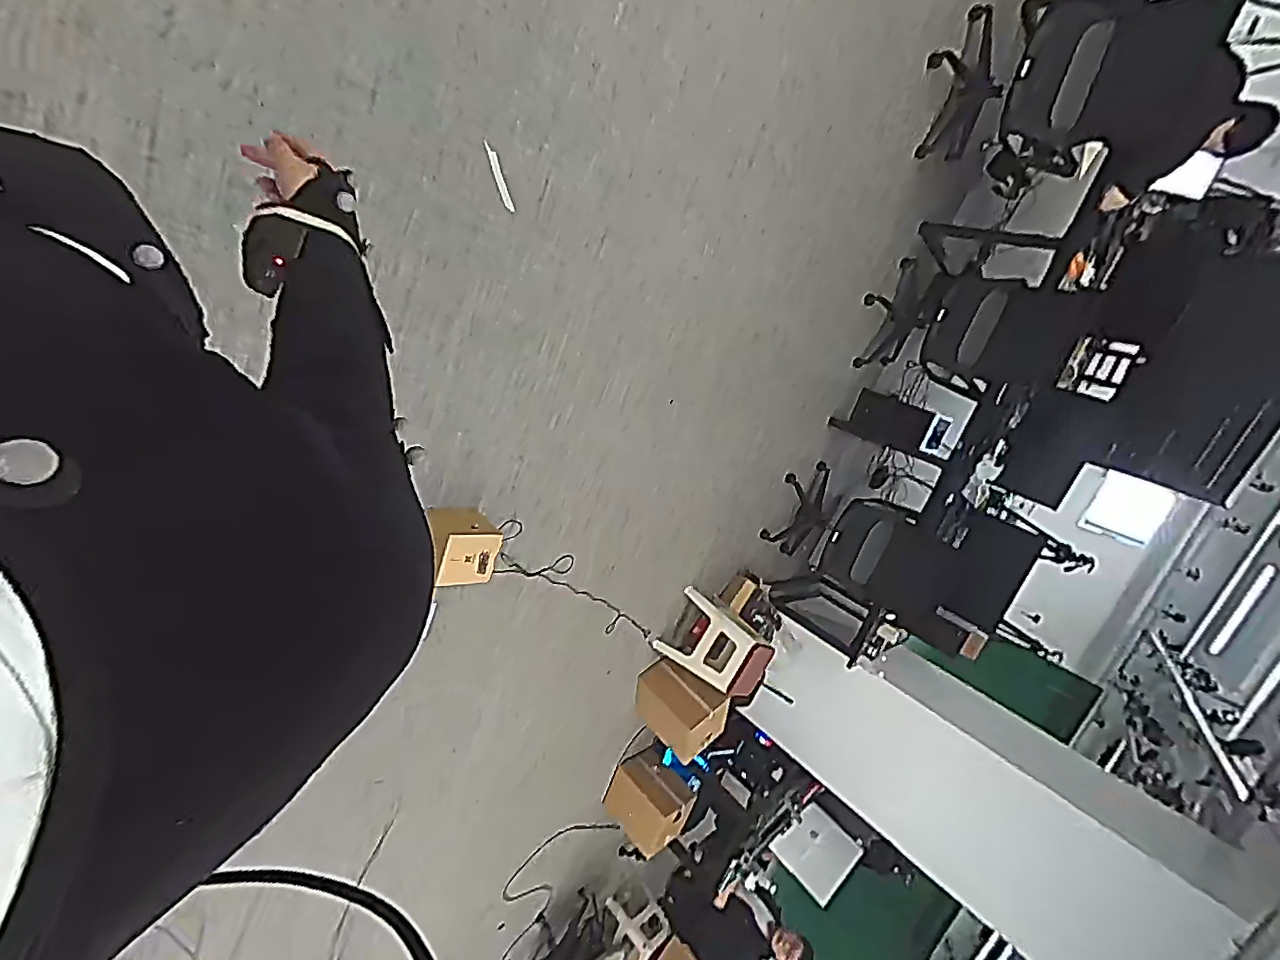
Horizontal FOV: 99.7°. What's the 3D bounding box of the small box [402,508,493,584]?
[{"bbox_3d":[-0.573,0.190,1.605,0.179,0.176,0.168,6,109,-49],"label":"small box"}]
